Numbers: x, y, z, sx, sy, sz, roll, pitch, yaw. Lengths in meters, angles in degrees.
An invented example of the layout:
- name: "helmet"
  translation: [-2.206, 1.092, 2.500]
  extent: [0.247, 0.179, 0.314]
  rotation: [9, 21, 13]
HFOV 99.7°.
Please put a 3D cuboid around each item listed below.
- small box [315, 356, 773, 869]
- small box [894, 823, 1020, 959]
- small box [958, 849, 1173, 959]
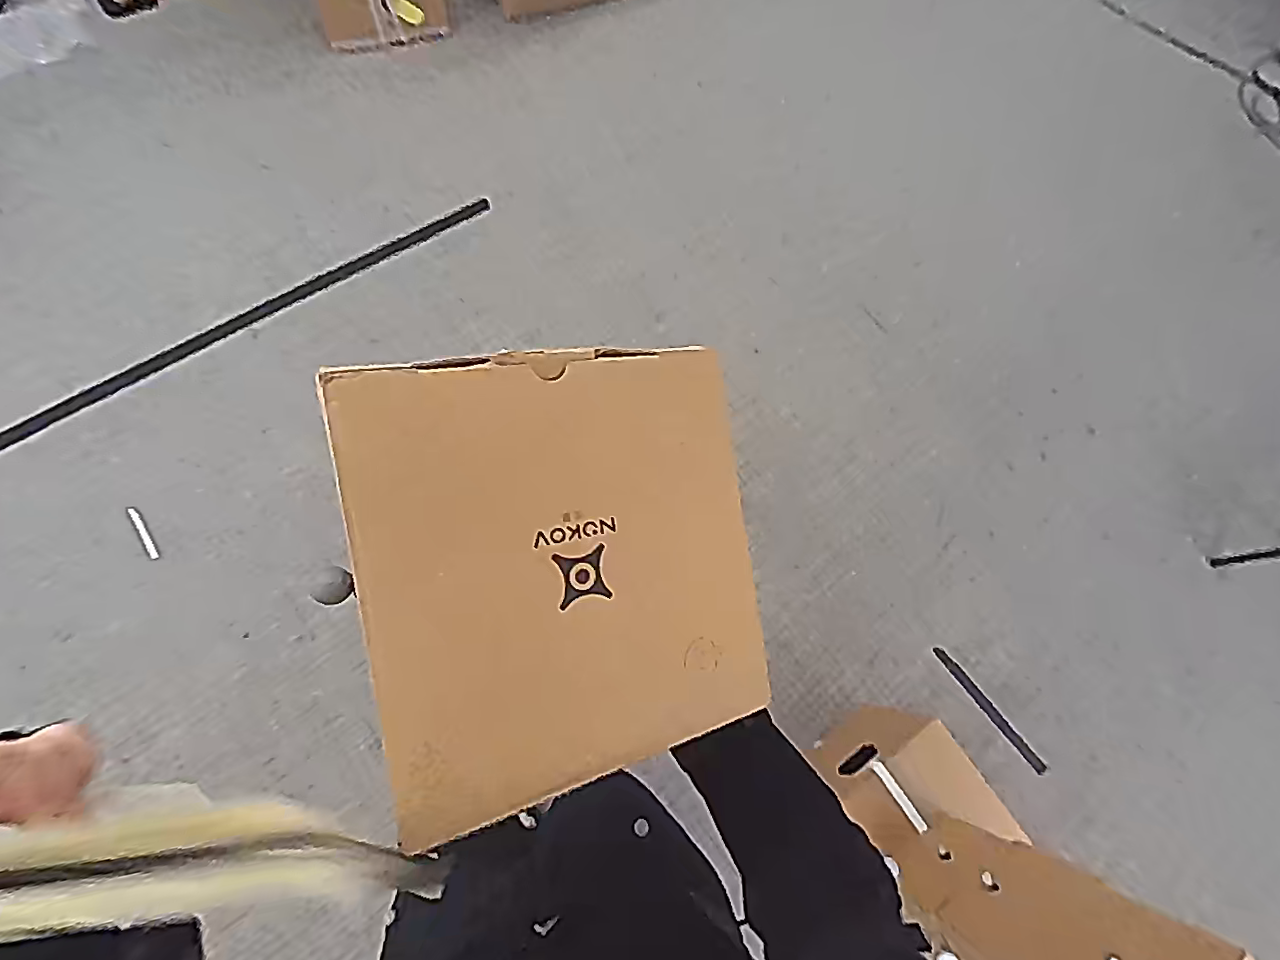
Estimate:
- name: "small box"
  translation: [-0.057, 0.045, 0.292]
  extent: [0.168, 0.176, 0.179]
  rotation: [-10, 89, -25]
- name: "small box"
  translation: [0.540, 0.692, 0.860]
  extent: [0.179, 0.176, 0.168]
  rotation: [-29, 76, -13]
- name: "small box"
  translation: [0.559, 0.636, 0.707]
  extent: [0.179, 0.176, 0.168]
  rotation: [-32, 77, -12]
